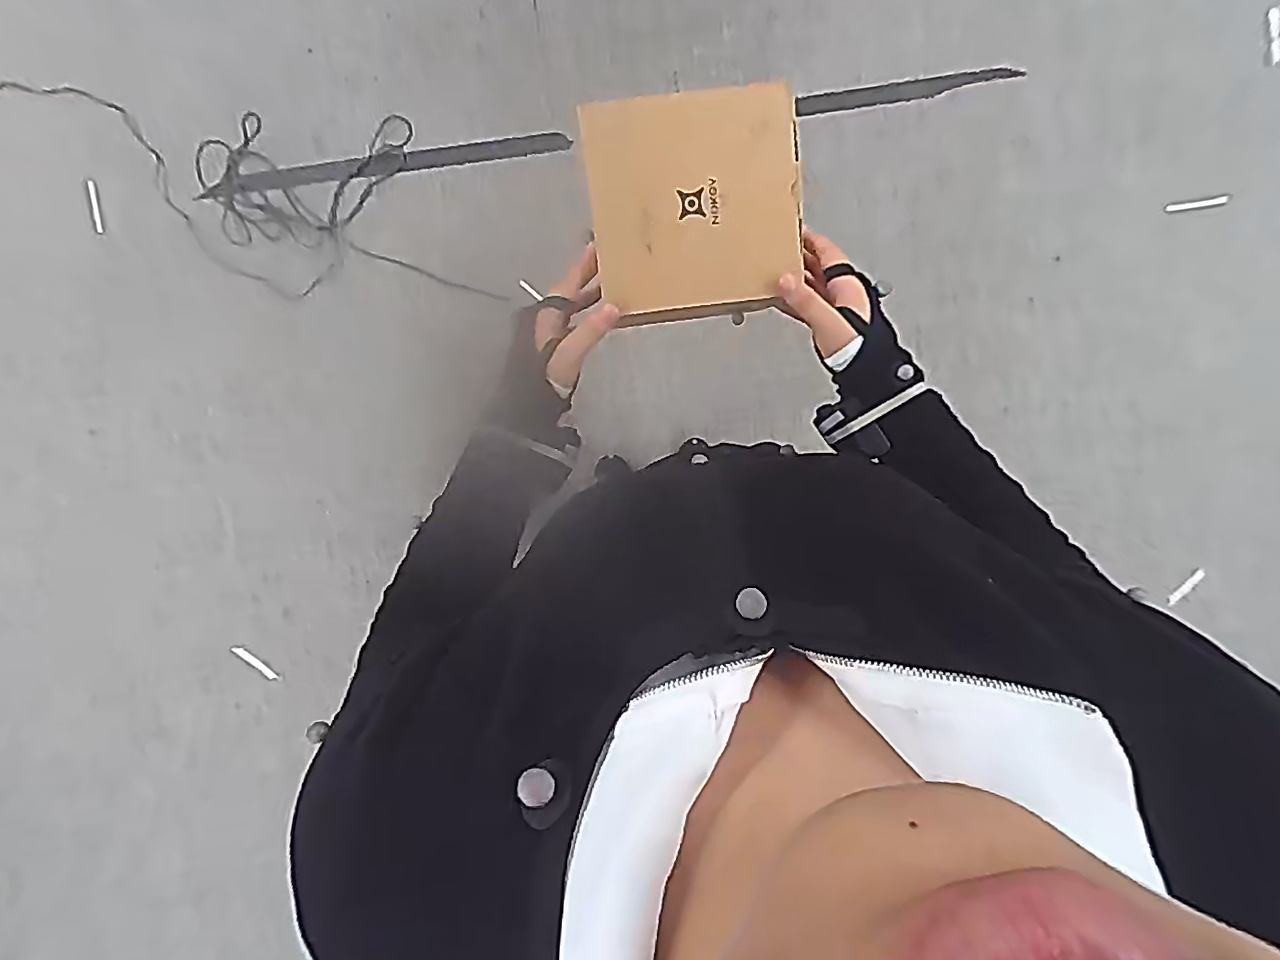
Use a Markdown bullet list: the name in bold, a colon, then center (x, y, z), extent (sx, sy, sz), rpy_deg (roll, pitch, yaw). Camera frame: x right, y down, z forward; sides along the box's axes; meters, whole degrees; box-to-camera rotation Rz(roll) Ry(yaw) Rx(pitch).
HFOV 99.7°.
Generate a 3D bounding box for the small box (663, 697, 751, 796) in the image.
- **small box**: center (0.154, 0.597, 1.267), extent (0.179, 0.176, 0.168), rpy_deg (-12, 94, 2)

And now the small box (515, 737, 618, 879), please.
- **small box**: center (-0.143, 0.664, 1.111), extent (0.168, 0.176, 0.179), rpy_deg (-11, 93, 1)

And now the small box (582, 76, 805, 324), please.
- **small box**: center (0.045, -0.251, 0.527), extent (0.179, 0.176, 0.168), rpy_deg (-8, 101, 1)
